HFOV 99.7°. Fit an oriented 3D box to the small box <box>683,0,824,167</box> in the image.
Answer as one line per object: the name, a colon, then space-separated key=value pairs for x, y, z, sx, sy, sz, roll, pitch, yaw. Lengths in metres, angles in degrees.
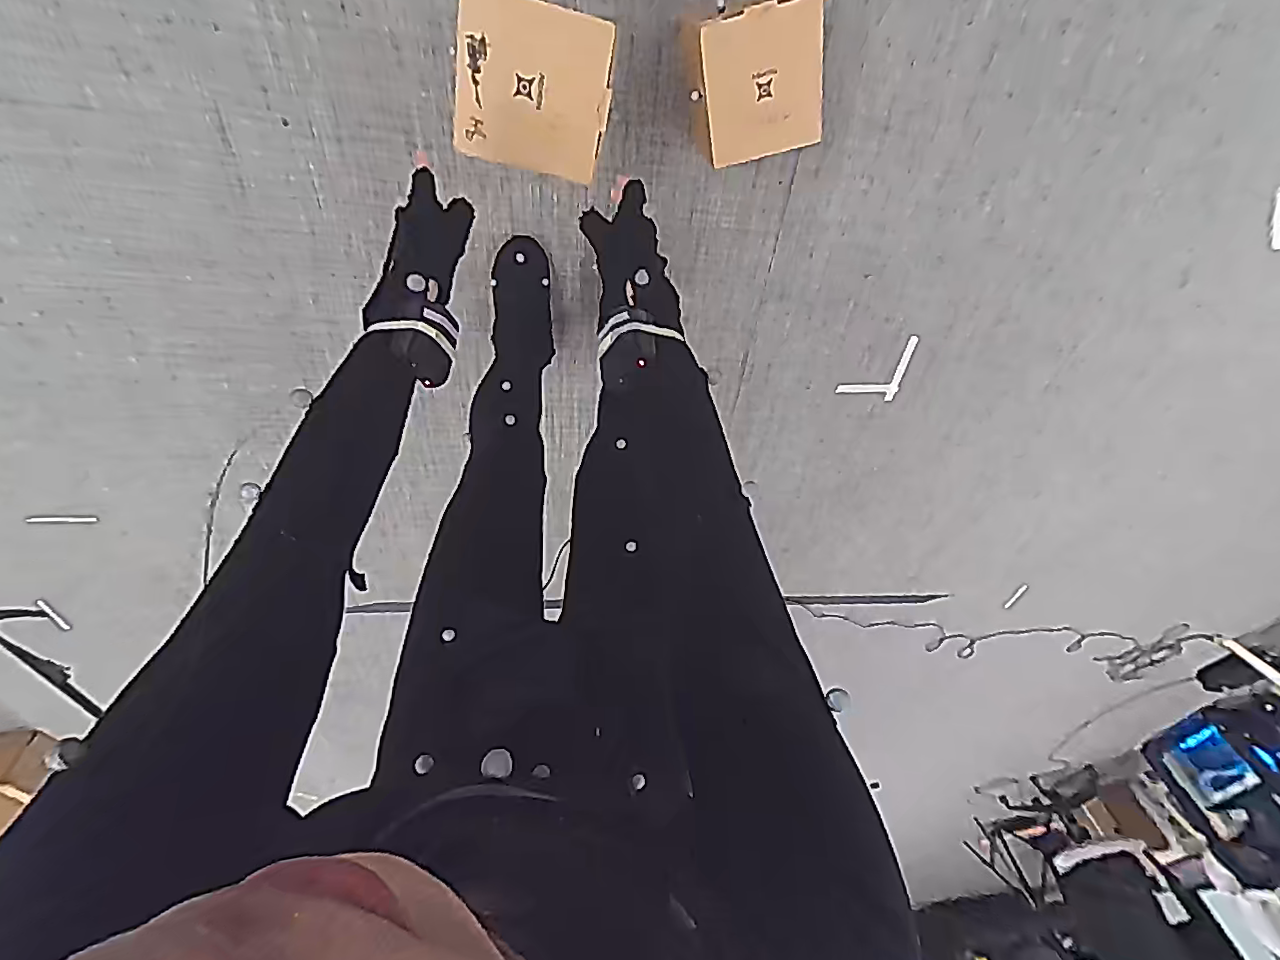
small box: x=0.166 y=-0.603 z=0.811 sx=0.168 sy=0.176 sz=0.179 roll=-13 pitch=133 yaw=5
